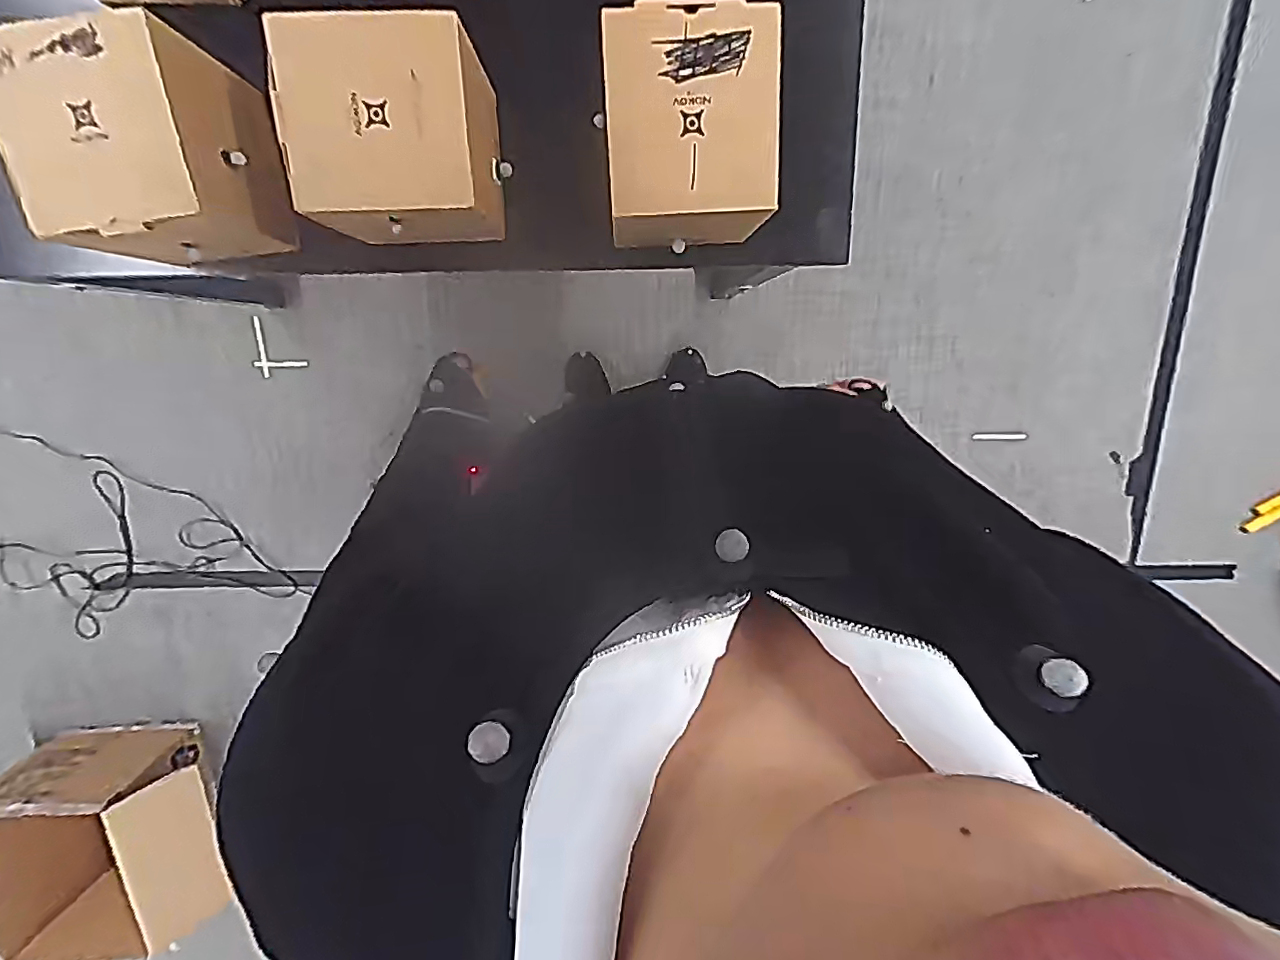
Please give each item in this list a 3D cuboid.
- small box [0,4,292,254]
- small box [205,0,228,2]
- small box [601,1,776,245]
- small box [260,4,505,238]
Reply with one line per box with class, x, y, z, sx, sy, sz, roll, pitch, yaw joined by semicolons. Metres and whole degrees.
small box;-0.512;-0.347;0.574;0.168;0.176;0.179;-7;104;0
small box;-0.527;-0.610;0.512;0.168;0.176;0.179;0;104;-2
small box;0.044;-0.367;0.589;0.168;0.176;0.179;-3;104;-1
small box;-0.256;-0.364;0.581;0.179;0.176;0.168;-3;104;-2
